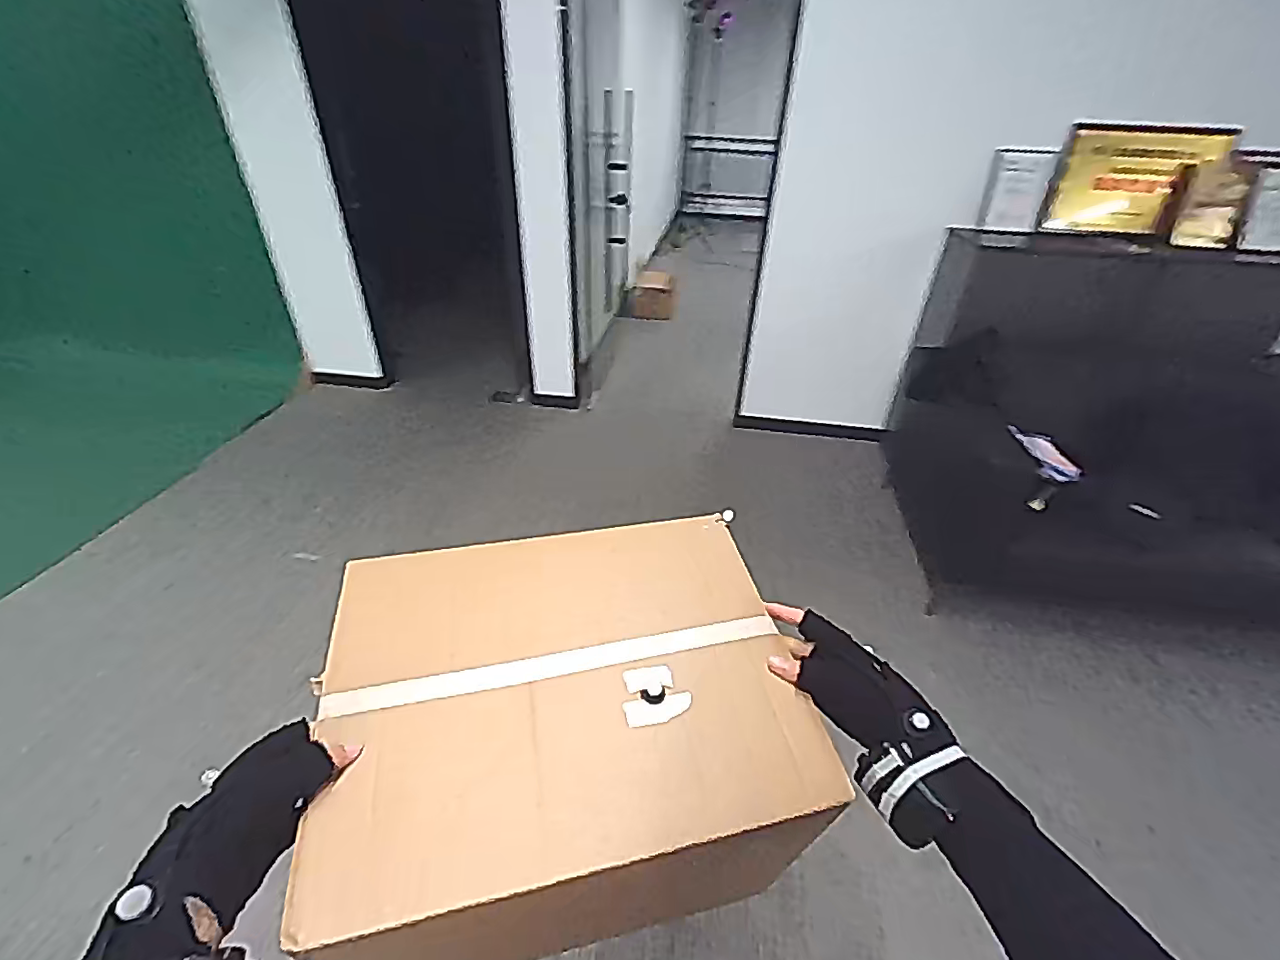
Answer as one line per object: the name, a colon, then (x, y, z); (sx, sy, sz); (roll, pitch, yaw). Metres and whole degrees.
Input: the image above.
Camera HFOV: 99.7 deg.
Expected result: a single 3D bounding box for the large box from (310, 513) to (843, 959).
large box: (-0.075, 0.272, 0.593); (0.408, 0.320, 0.320); (-6, 44, -14)
